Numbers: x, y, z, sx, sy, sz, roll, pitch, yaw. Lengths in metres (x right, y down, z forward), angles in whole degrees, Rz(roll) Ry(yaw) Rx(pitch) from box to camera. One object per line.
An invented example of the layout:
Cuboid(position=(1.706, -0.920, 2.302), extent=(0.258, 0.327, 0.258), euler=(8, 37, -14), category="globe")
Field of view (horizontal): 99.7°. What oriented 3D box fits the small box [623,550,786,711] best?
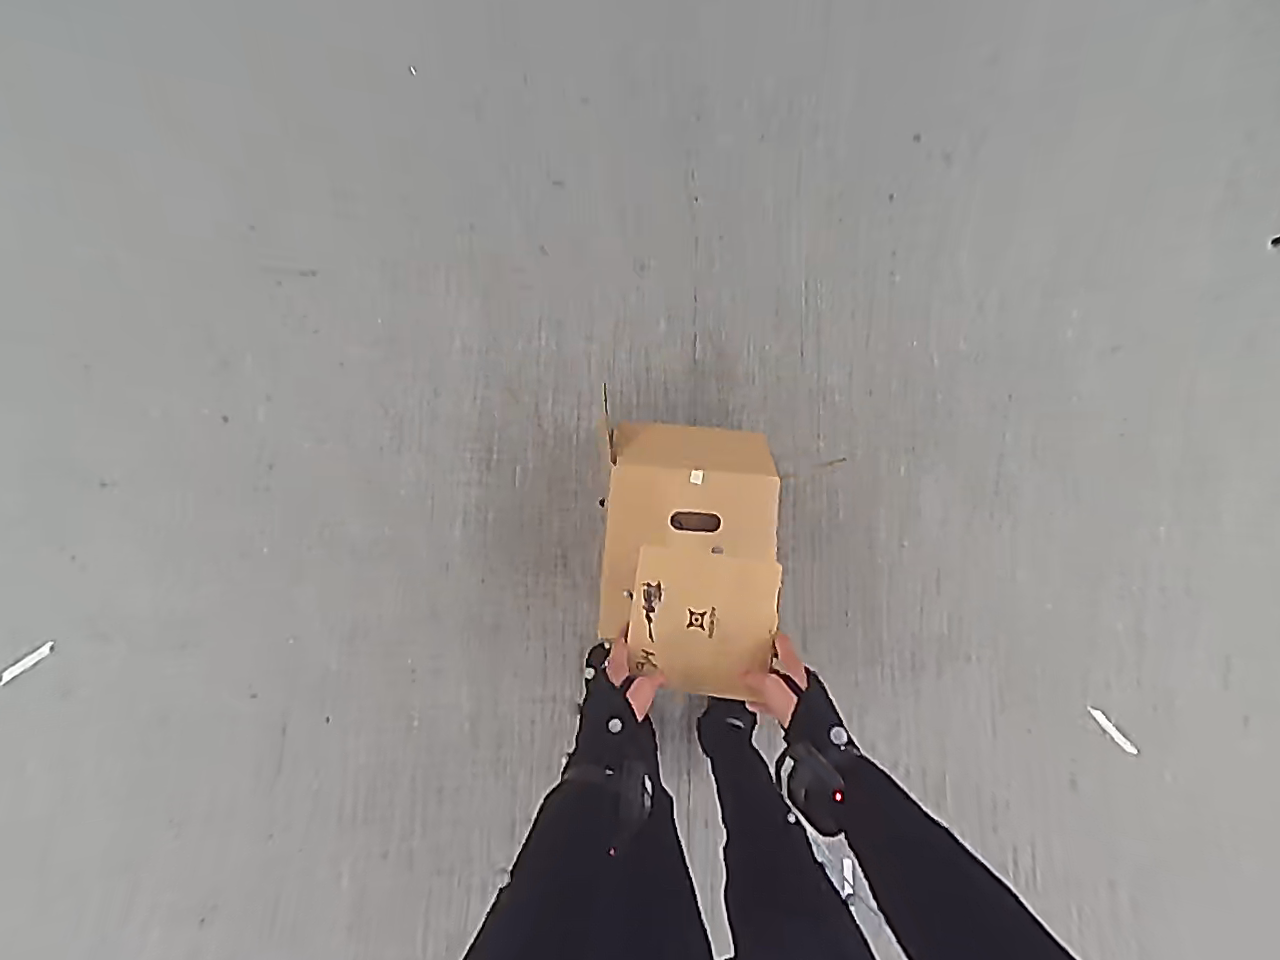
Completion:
Cuboid(position=(0.075, 0.186, 0.709), extent=(0.179, 0.176, 0.168), euler=(8, 80, 0), category="small box")
